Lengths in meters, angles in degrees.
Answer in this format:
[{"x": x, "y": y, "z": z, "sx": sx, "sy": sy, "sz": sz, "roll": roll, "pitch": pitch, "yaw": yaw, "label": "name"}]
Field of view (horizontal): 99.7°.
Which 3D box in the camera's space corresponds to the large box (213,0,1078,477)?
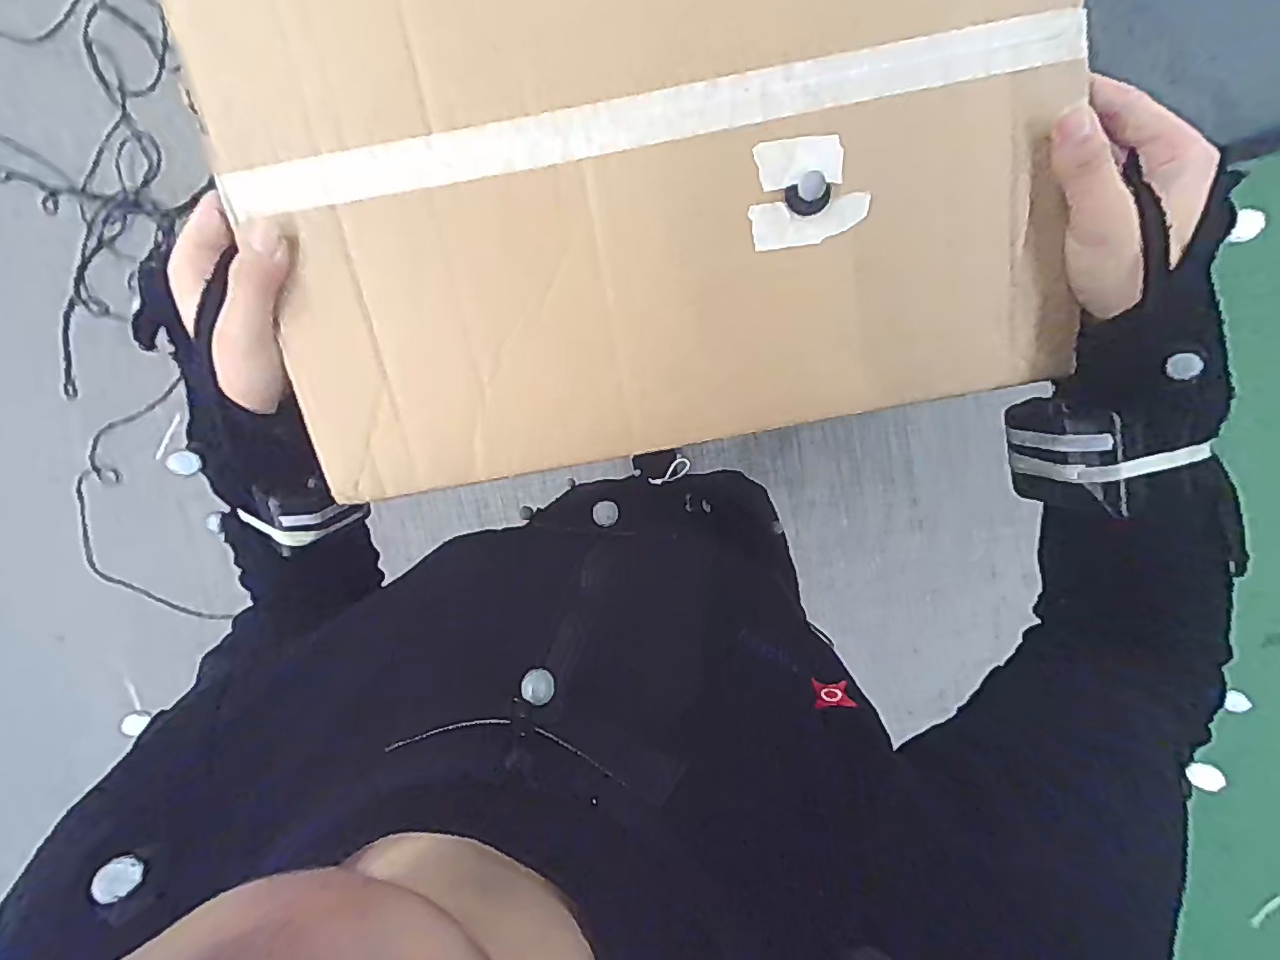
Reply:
[{"x": 0.007, "y": -0.220, "z": 0.406, "sx": 0.408, "sy": 0.320, "sz": 0.320, "roll": -11, "pitch": 106, "yaw": 0, "label": "large box"}]
